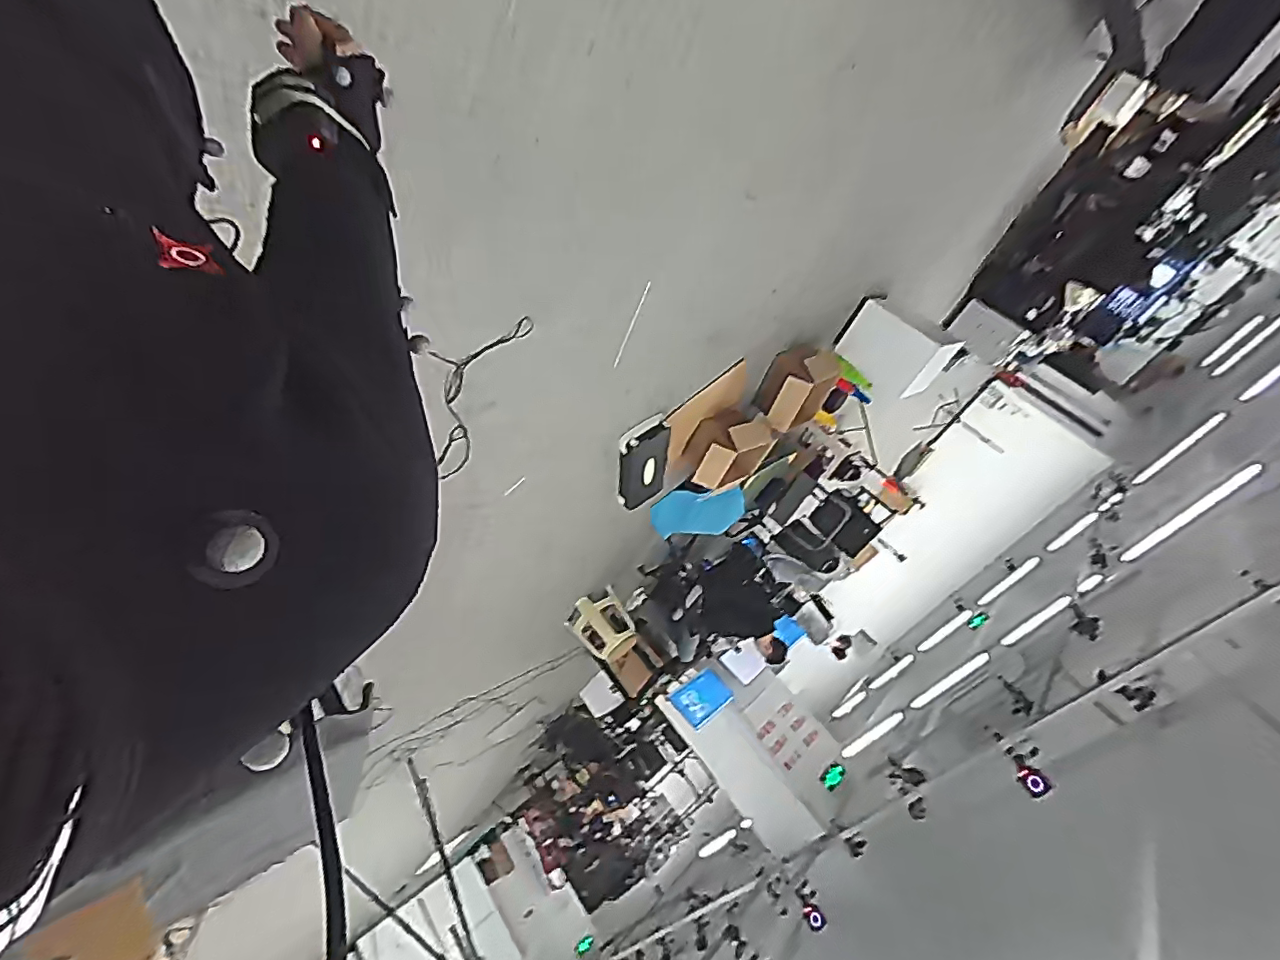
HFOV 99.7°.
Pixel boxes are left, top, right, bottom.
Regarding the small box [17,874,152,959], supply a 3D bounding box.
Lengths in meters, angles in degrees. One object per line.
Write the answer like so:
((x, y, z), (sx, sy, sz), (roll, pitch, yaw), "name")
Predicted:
((-1.172, 0.991, 1.138), (0.179, 0.176, 0.168), (-10, 142, -53), "small box")
